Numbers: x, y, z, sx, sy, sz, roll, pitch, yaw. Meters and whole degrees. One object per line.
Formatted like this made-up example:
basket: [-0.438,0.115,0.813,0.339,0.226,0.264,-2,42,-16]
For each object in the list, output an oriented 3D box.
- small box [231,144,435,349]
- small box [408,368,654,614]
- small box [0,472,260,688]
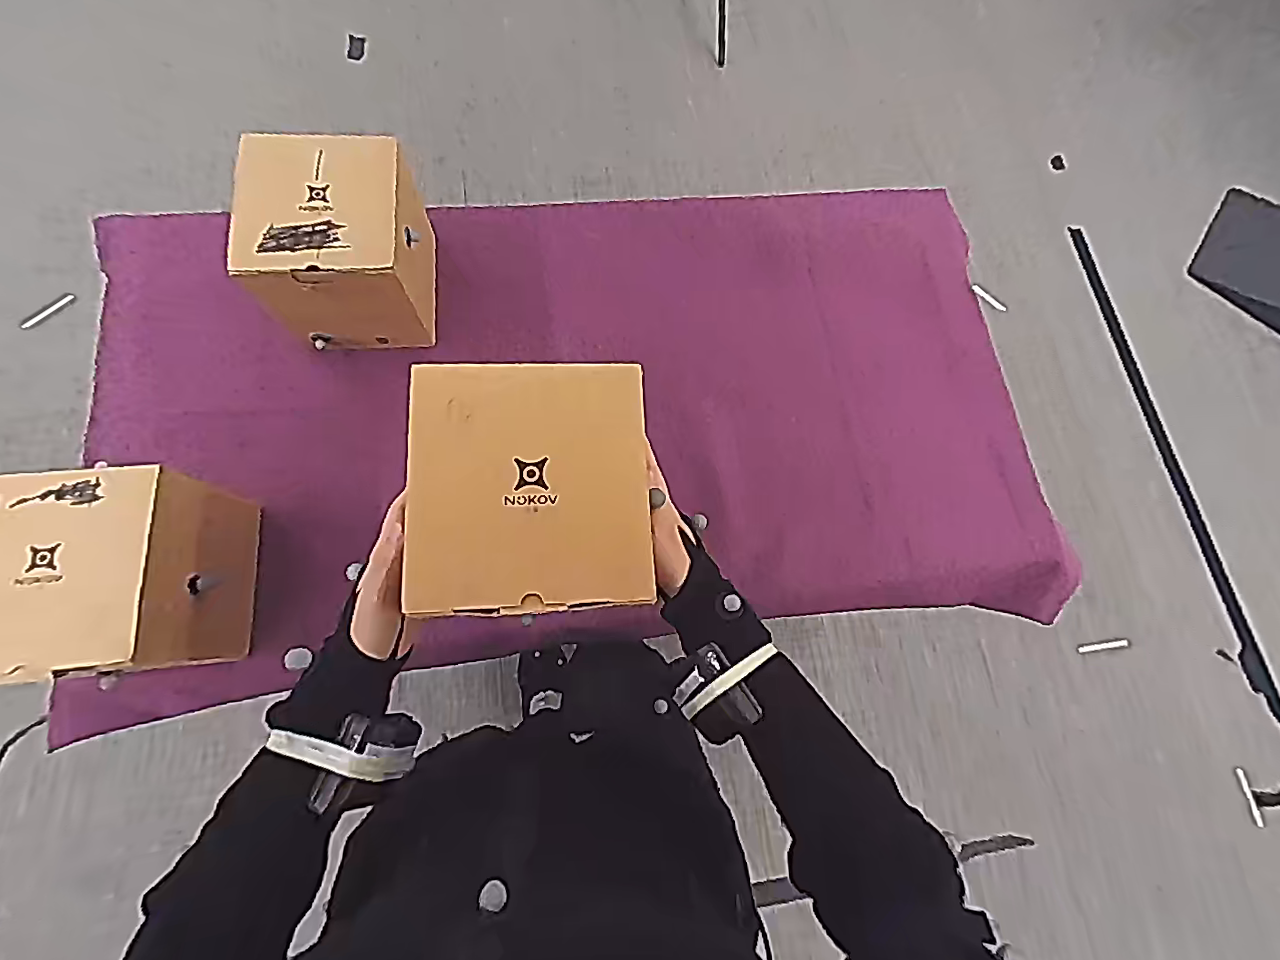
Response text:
small box: [-0.356,-0.272,0.662,0.168,0.176,0.179,-4,75,-7]
small box: [-0.085,0.020,0.457,0.168,0.176,0.179,-2,78,-7]
small box: [-0.513,0.102,0.537,0.168,0.176,0.179,-5,75,-8]
